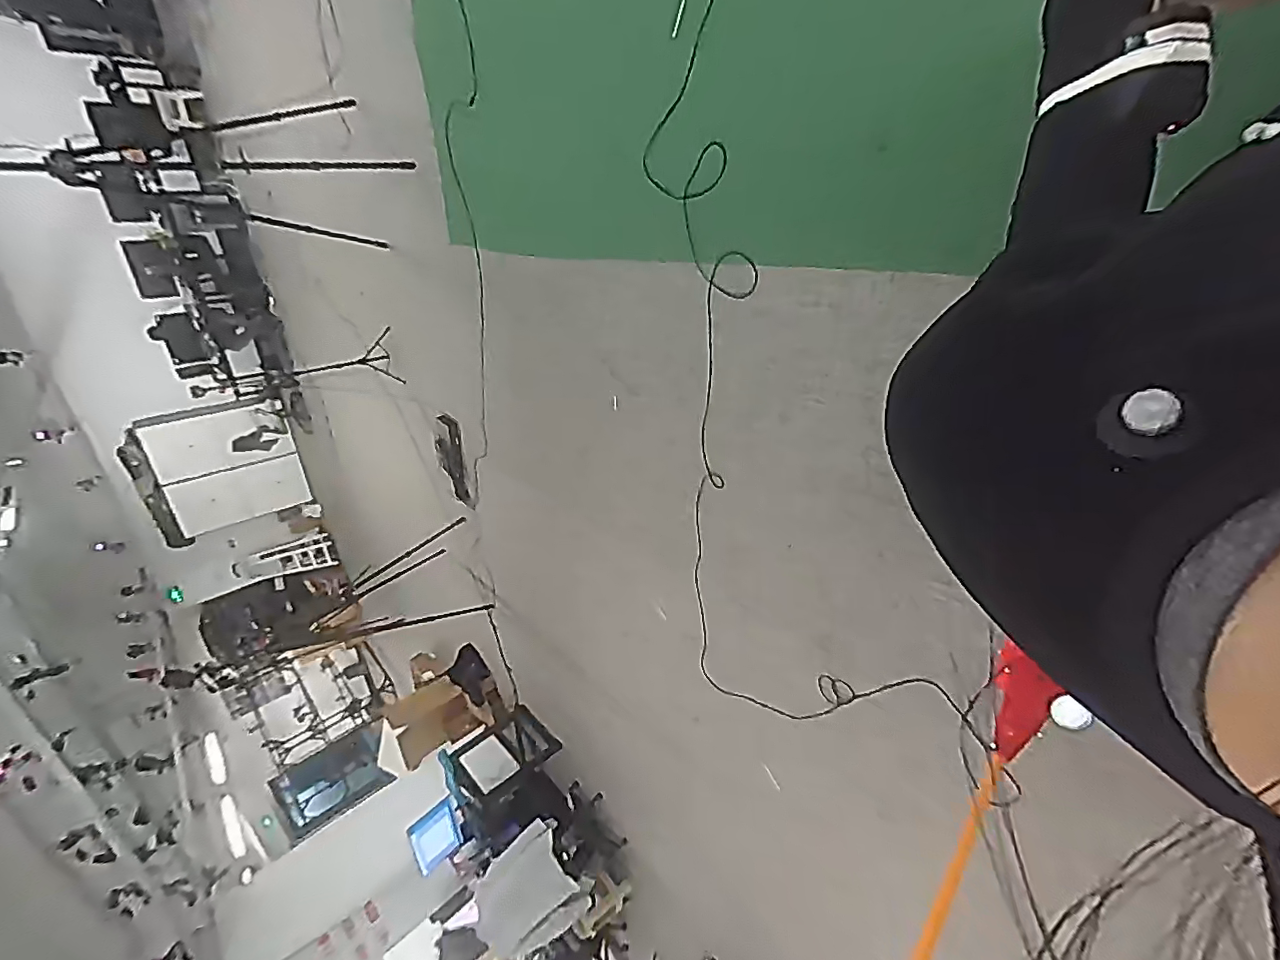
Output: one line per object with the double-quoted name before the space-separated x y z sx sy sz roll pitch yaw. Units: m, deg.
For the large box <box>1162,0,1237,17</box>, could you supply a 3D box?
"large box" 0.561 -0.511 0.267 0.408 0.320 0.320 10 123 41
